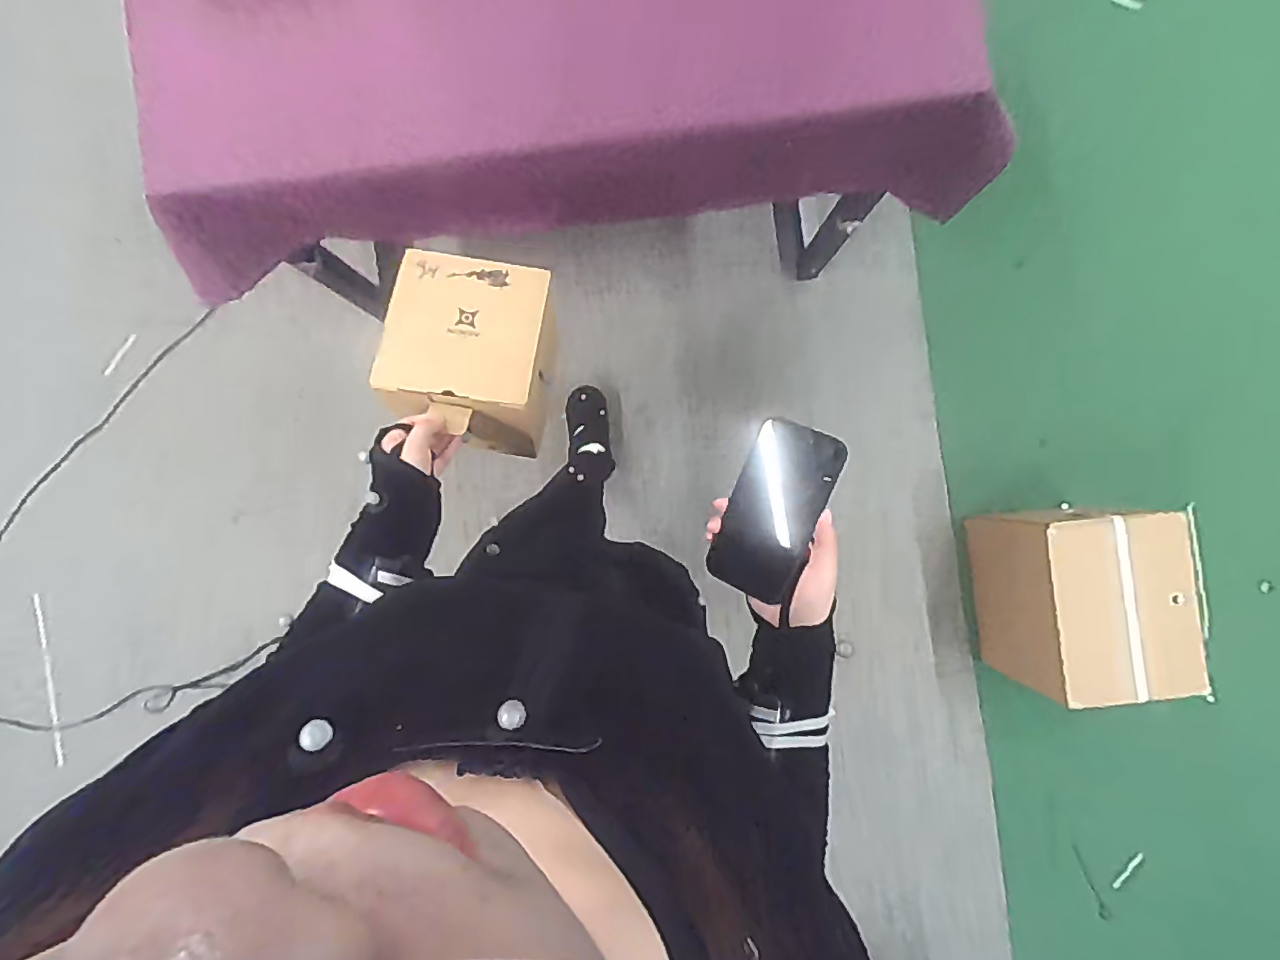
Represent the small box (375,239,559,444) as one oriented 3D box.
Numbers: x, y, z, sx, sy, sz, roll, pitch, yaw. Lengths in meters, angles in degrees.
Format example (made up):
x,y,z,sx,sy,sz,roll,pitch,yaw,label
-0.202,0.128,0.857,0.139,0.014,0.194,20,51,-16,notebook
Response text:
x,y,z,sx,sy,sz,roll,pitch,yaw,label
-0.194,-0.156,0.663,0.168,0.176,0.179,8,75,-4,small box
